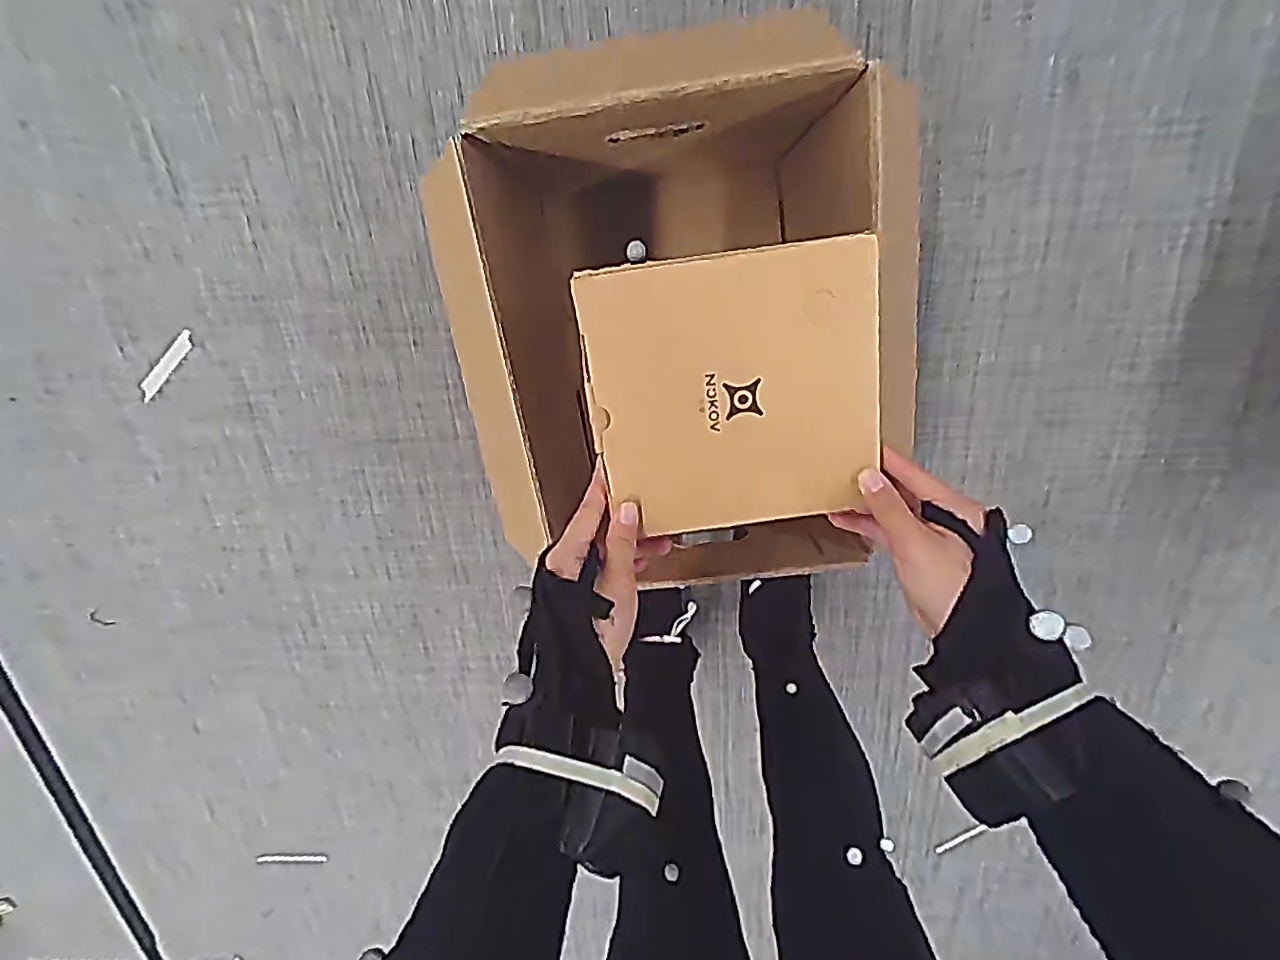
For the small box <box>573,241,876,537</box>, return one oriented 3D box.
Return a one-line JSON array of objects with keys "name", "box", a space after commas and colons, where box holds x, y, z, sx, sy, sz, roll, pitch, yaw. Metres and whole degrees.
[{"name": "small box", "box": [0.056, -0.075, 0.406, 0.179, 0.176, 0.168, -8, 108, 3]}]
